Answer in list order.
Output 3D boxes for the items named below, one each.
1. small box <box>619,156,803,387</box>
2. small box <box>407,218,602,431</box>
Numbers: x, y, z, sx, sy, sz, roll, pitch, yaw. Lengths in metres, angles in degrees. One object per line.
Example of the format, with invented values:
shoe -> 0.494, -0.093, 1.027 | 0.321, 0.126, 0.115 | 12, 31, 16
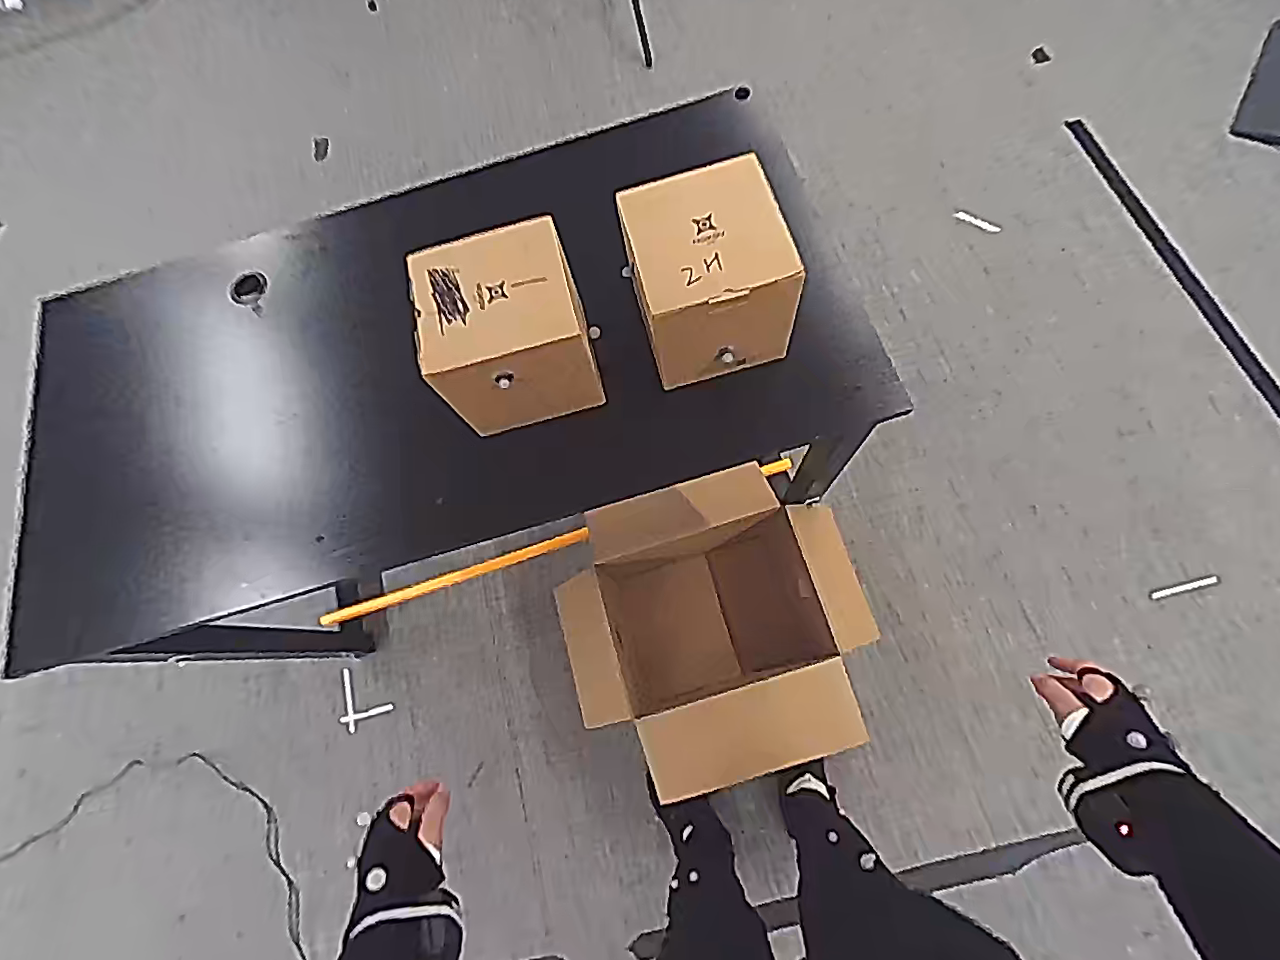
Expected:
small box -> 0.079, -0.241, 0.657 | 0.168, 0.176, 0.179 | -15, 71, 2
small box -> -0.158, -0.177, 0.665 | 0.179, 0.176, 0.168 | -14, 71, 1
